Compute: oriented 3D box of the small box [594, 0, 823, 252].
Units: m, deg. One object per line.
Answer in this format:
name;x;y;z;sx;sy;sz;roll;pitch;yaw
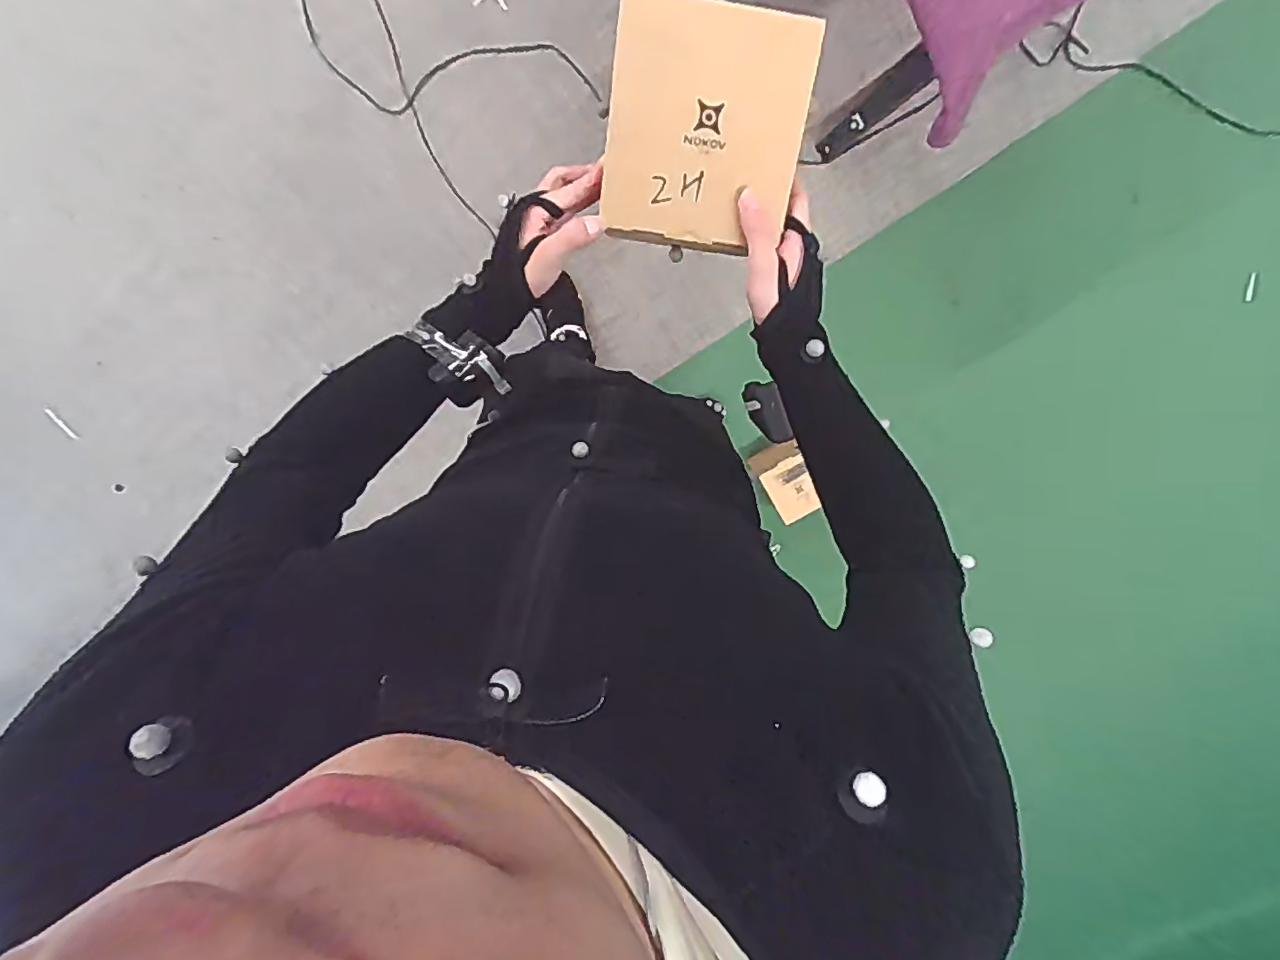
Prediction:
small box;0.051;-0.326;0.520;0.168;0.176;0.179;7;112;-3
